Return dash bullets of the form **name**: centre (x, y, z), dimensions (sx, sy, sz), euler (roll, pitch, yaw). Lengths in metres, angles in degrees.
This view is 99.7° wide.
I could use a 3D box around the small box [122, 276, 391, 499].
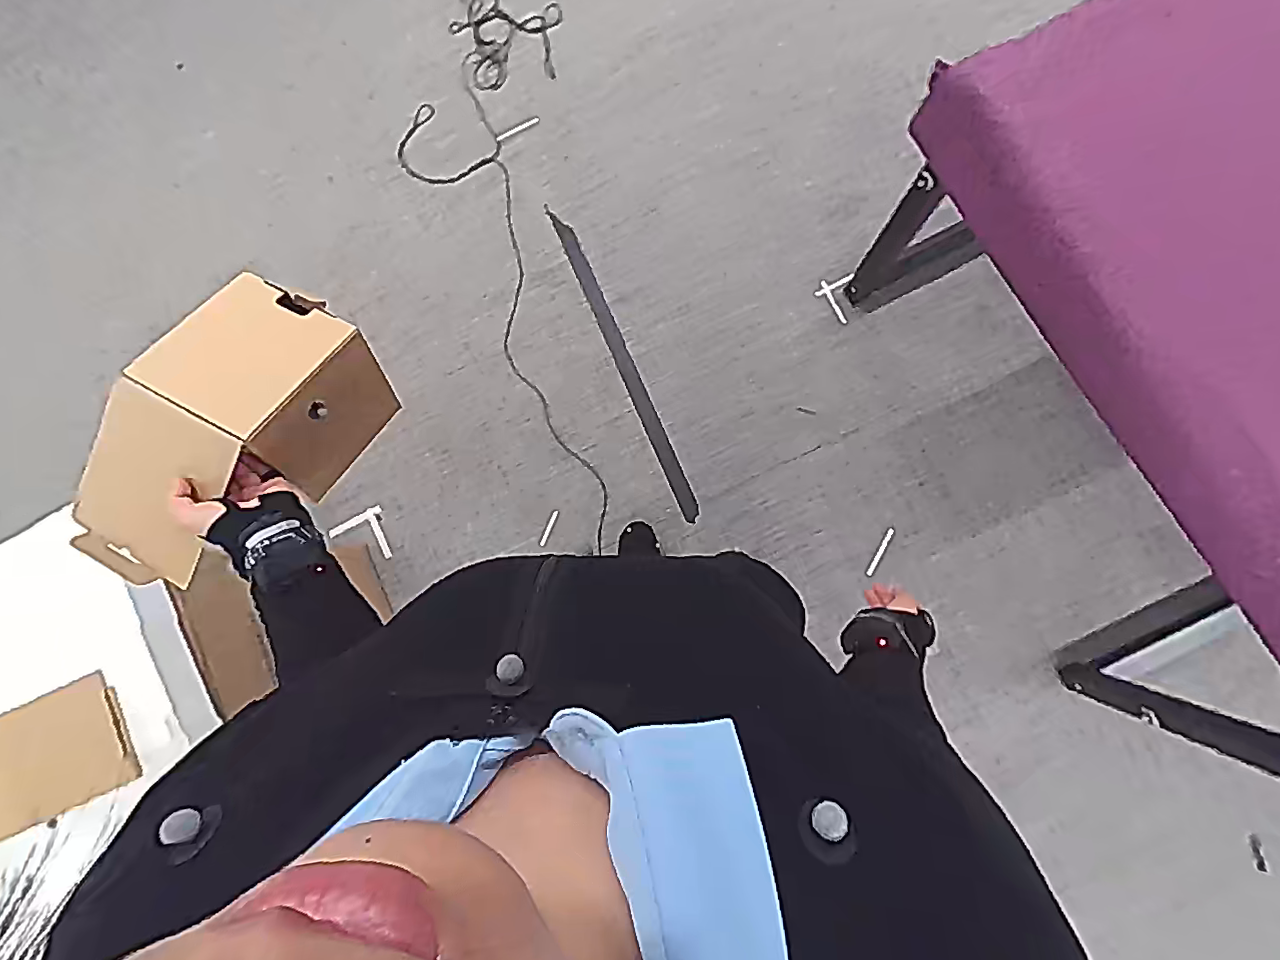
- **small box**: centre (-0.441, -0.103, 0.662), dimensions (0.168, 0.176, 0.179), euler (26, 64, 7)
